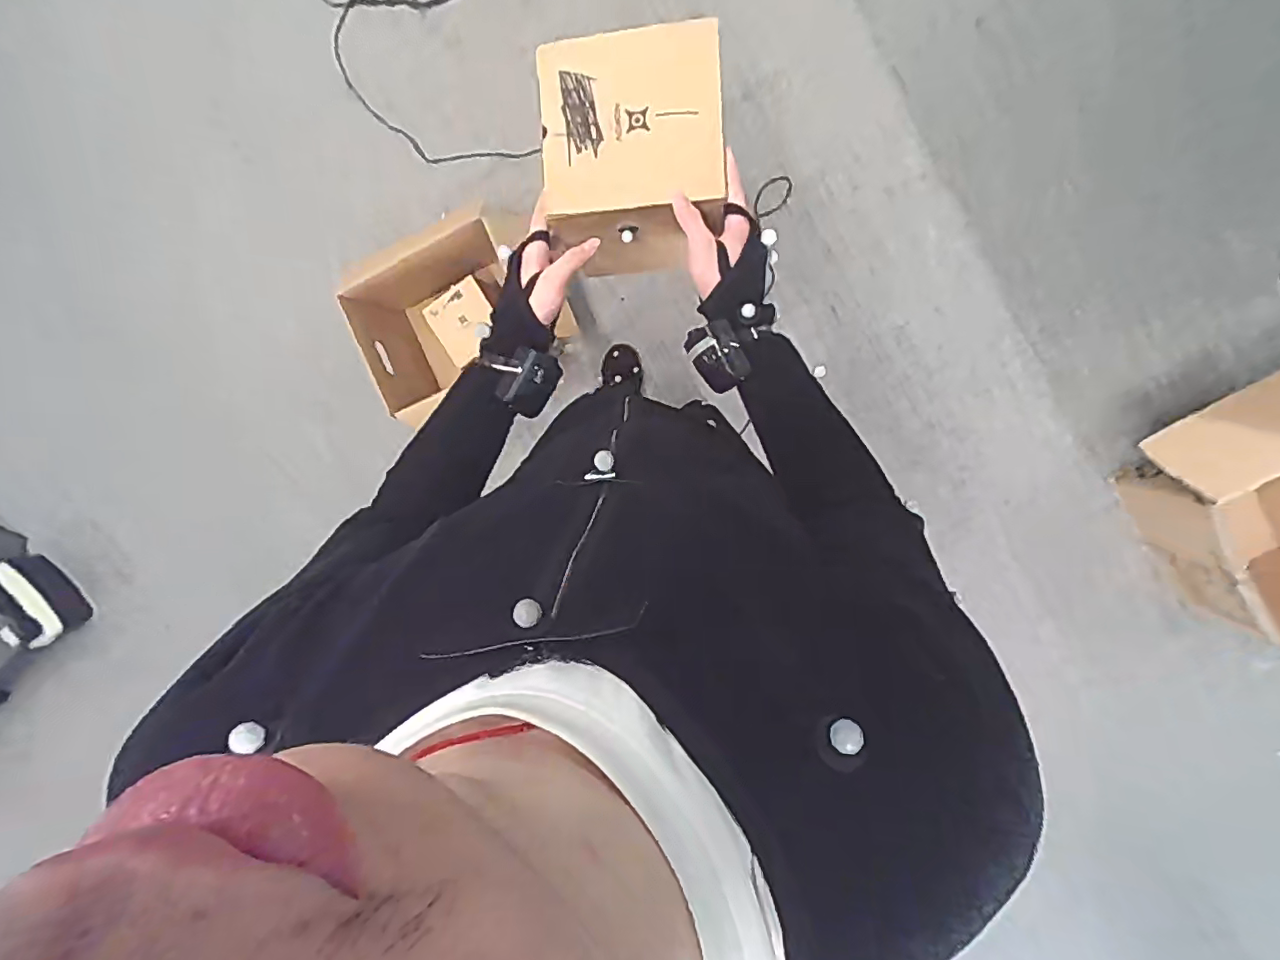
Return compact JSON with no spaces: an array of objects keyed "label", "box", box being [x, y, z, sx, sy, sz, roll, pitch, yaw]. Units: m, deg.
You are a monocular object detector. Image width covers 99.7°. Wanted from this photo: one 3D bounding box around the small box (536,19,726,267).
[{"label":"small box","box":[0.000,-0.337,0.579,0.179,0.176,0.168,2,93,8]}]
